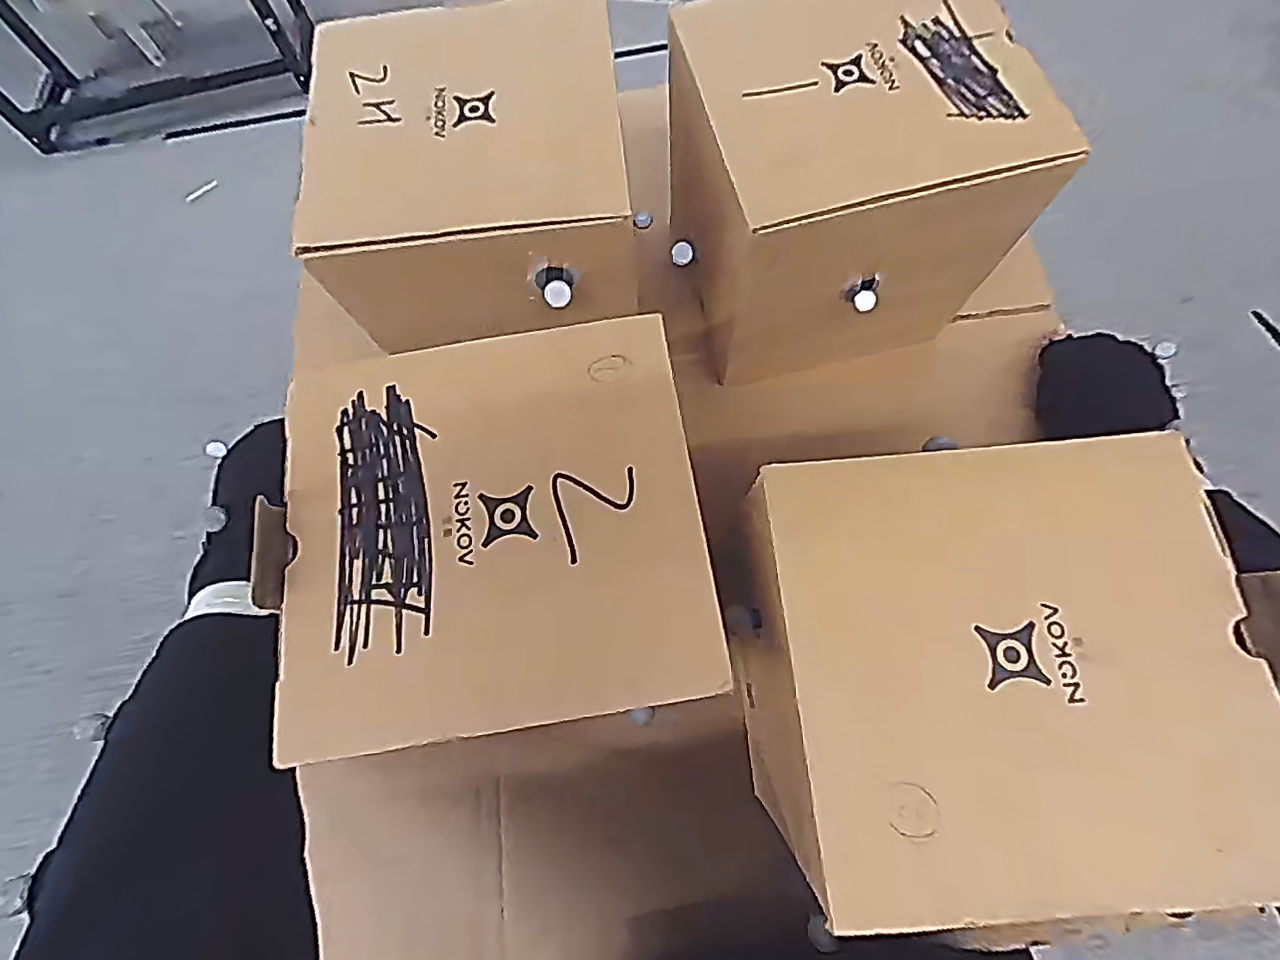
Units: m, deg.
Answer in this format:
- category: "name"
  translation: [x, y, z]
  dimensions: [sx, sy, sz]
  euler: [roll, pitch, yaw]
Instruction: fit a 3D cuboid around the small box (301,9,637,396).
- category: "small box"
  translation: [-0.095, -0.174, 0.381]
  dimensions: [0.179, 0.176, 0.168]
  euler: [-6, 72, 2]
